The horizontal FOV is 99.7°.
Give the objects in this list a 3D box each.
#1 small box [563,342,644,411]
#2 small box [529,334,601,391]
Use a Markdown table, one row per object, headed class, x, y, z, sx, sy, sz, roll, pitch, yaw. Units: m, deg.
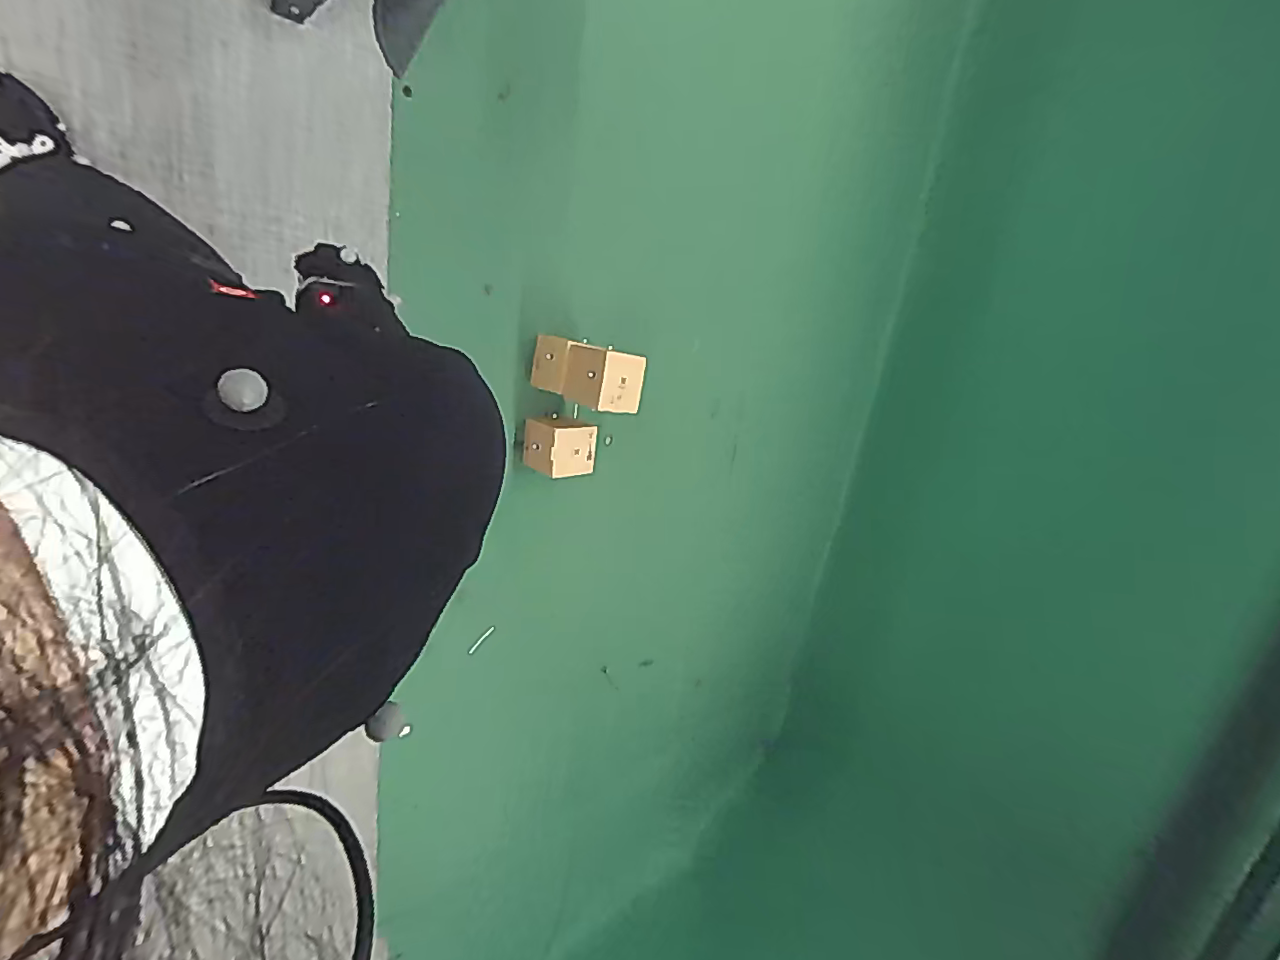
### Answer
| class | x | y | z | sx | sy | sz | roll | pitch | yaw |
| --- | --- | --- | --- | --- | --- | --- | --- | --- | --- |
| small box | -0.116 | -0.316 | 1.645 | 0.168 | 0.176 | 0.179 | -2 | 108 | -46 |
| small box | -0.236 | -0.372 | 1.744 | 0.179 | 0.176 | 0.168 | -1 | 108 | -47 |
